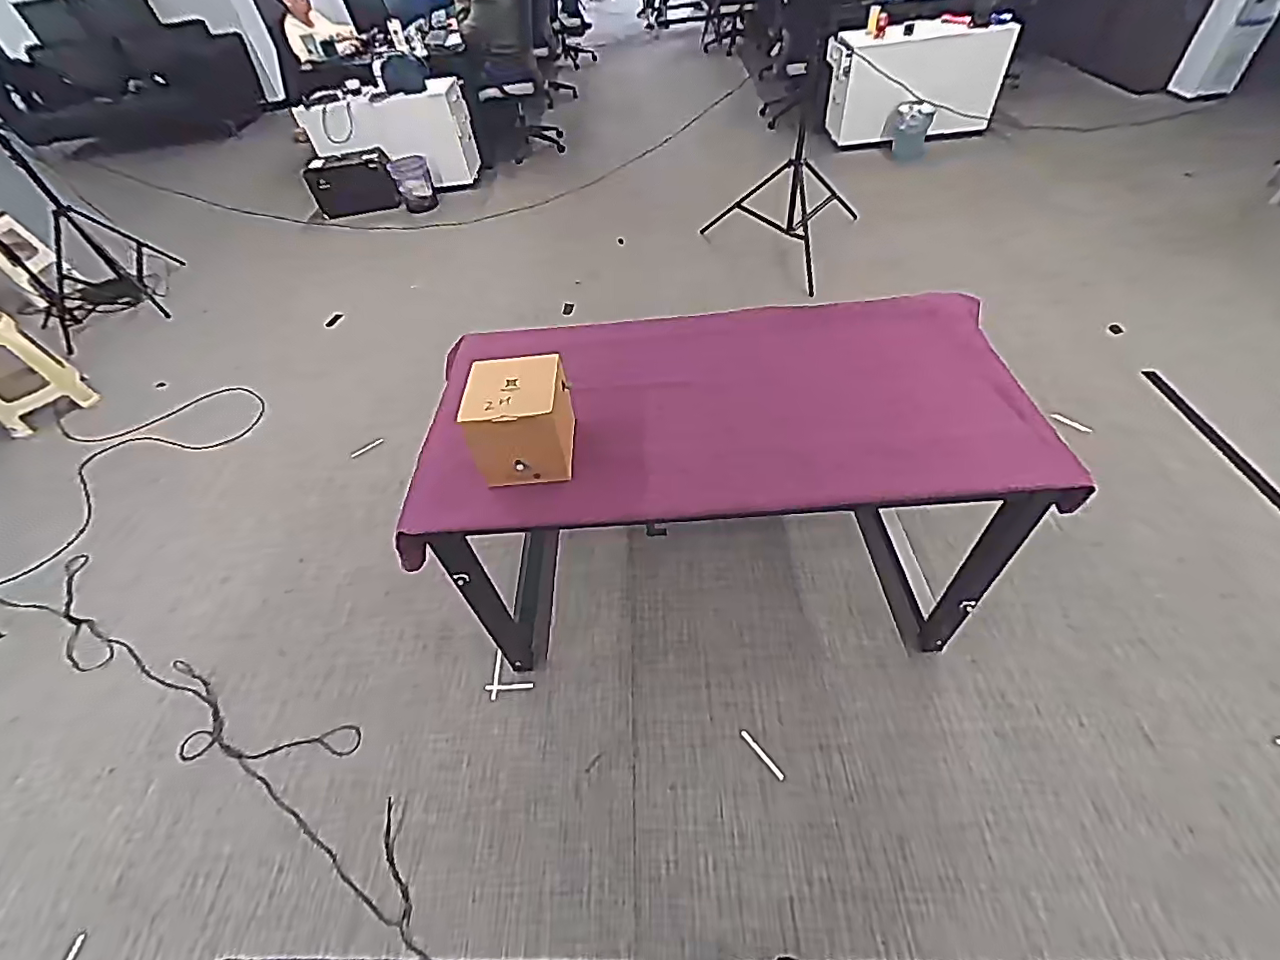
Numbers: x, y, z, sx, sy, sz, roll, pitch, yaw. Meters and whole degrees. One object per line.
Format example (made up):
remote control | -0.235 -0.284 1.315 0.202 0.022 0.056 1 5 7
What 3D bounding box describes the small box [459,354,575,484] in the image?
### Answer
small box | -0.220 -0.114 1.020 0.168 0.176 0.179 -5 48 3
